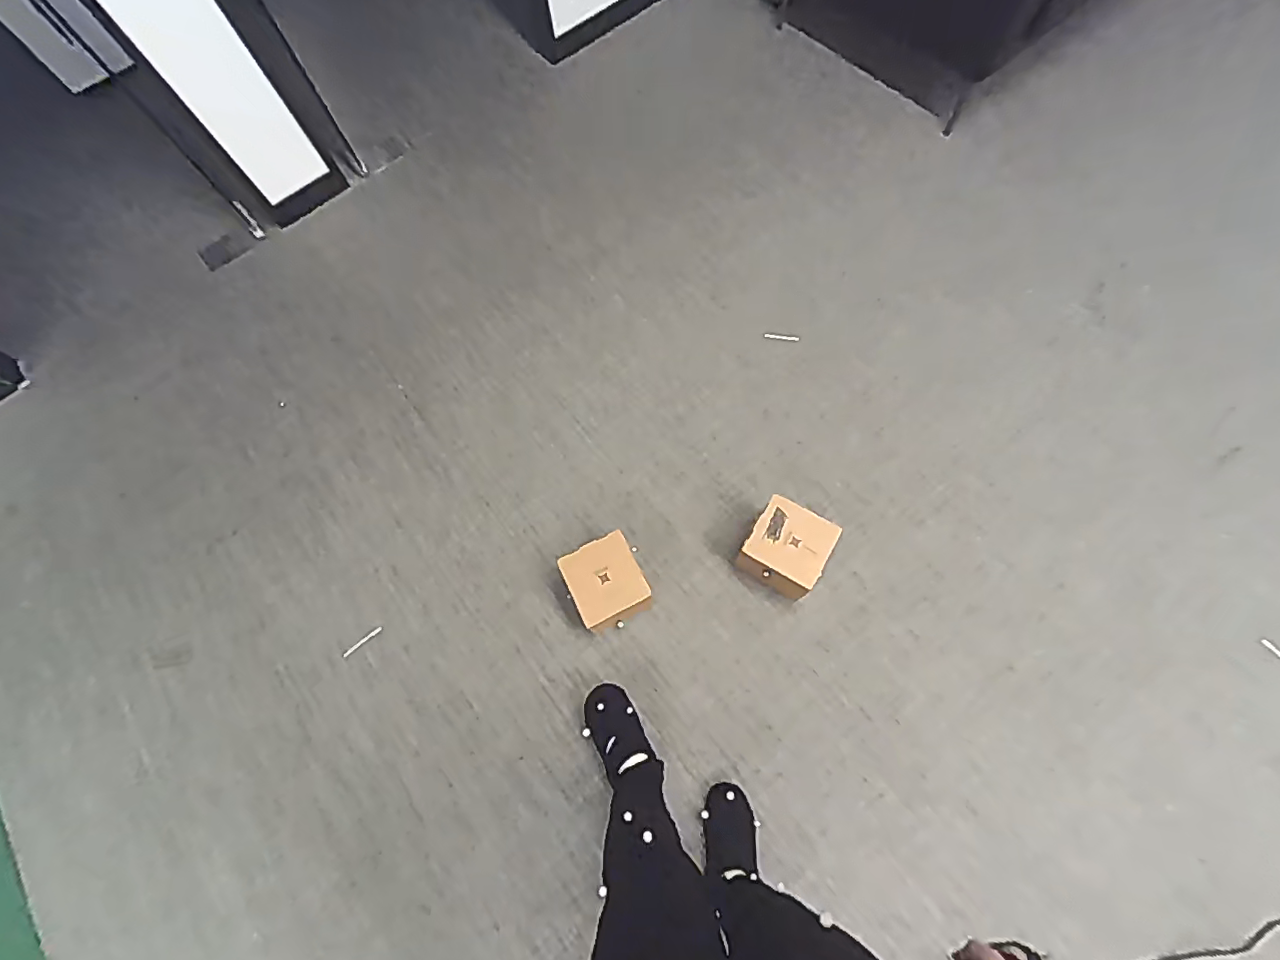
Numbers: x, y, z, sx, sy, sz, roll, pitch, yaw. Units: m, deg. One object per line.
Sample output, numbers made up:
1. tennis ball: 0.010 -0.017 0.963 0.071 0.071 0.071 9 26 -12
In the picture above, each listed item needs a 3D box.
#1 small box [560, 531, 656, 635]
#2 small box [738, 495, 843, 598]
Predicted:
1. small box: -0.073 0.253 1.302 0.168 0.176 0.179 -27 69 -5
2. small box: 0.352 0.168 1.301 0.179 0.176 0.168 29 74 14
